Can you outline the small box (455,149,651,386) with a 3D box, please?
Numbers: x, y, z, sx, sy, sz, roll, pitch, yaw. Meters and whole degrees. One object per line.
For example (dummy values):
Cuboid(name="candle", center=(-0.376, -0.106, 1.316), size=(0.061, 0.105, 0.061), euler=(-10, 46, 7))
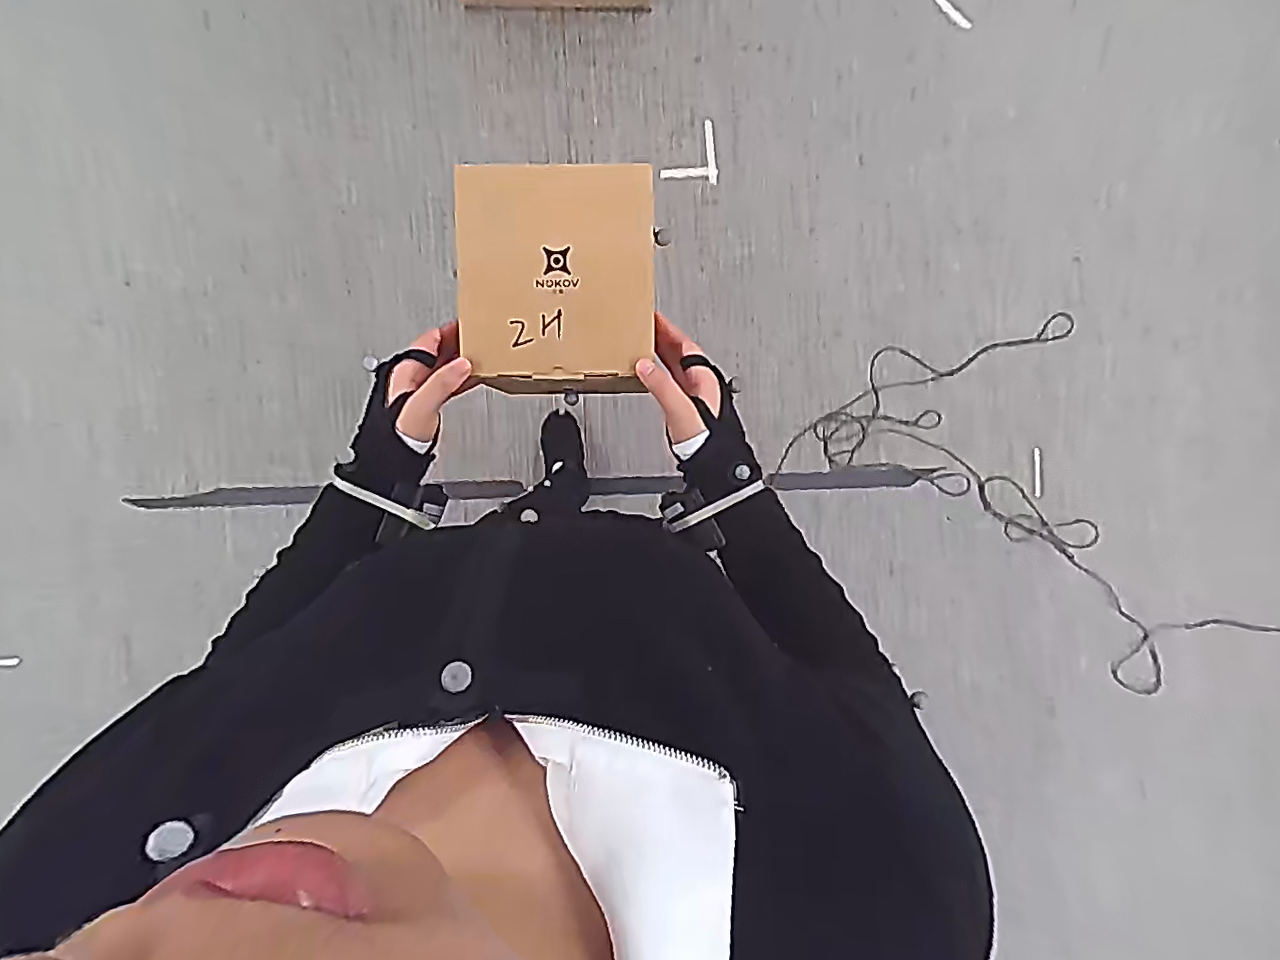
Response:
Cuboid(name="small box", center=(-0.074, -0.192, 0.533), size=(0.168, 0.176, 0.179), euler=(0, 93, 0))
